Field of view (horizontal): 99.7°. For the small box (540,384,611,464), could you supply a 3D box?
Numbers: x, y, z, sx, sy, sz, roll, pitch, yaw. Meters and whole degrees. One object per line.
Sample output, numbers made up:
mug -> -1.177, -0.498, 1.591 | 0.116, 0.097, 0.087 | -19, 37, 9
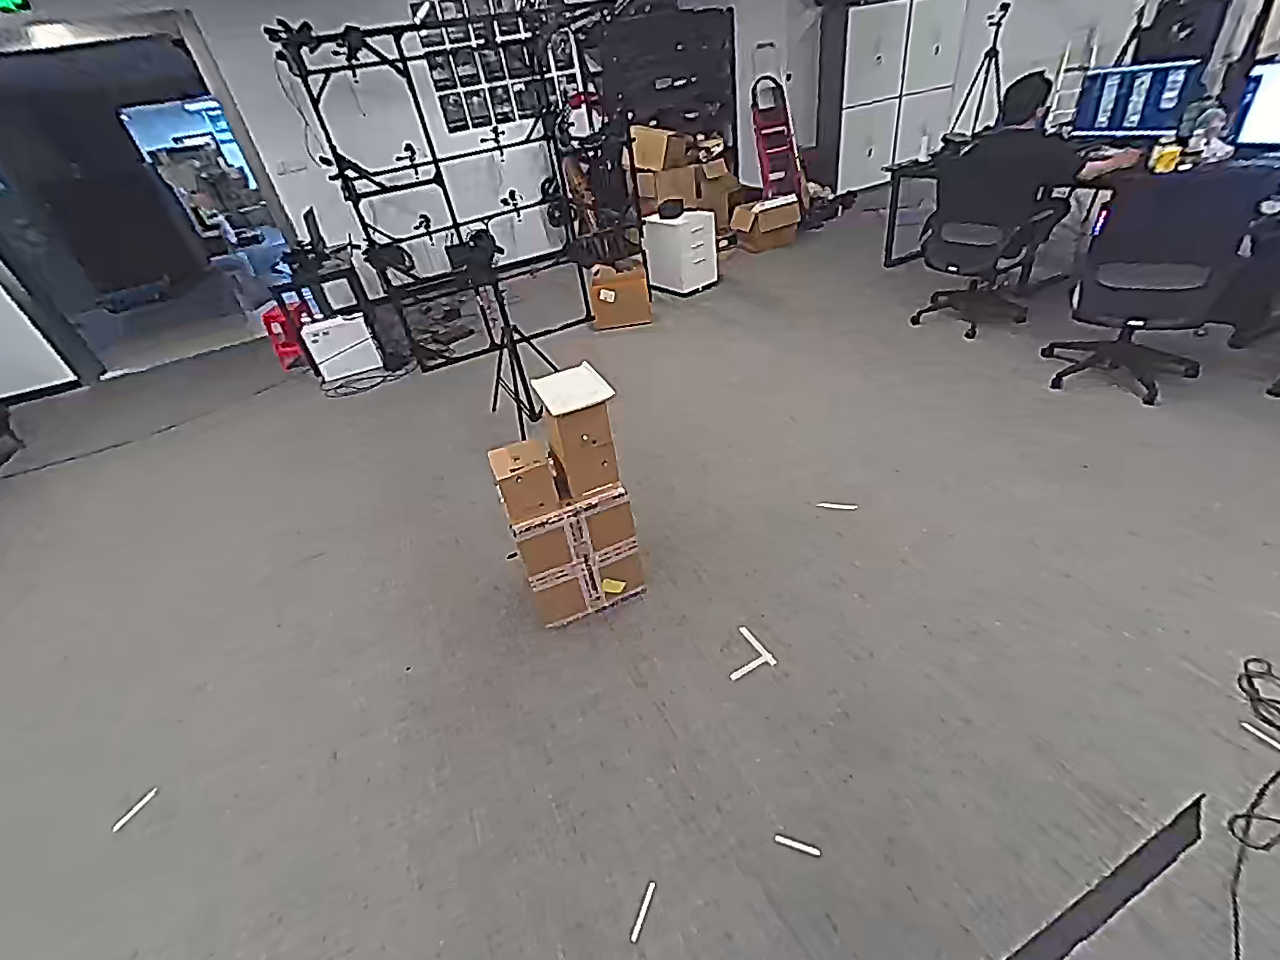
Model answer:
small box -> -0.202, -0.176, 1.697 | 0.168, 0.176, 0.179 | -19, 39, -16
